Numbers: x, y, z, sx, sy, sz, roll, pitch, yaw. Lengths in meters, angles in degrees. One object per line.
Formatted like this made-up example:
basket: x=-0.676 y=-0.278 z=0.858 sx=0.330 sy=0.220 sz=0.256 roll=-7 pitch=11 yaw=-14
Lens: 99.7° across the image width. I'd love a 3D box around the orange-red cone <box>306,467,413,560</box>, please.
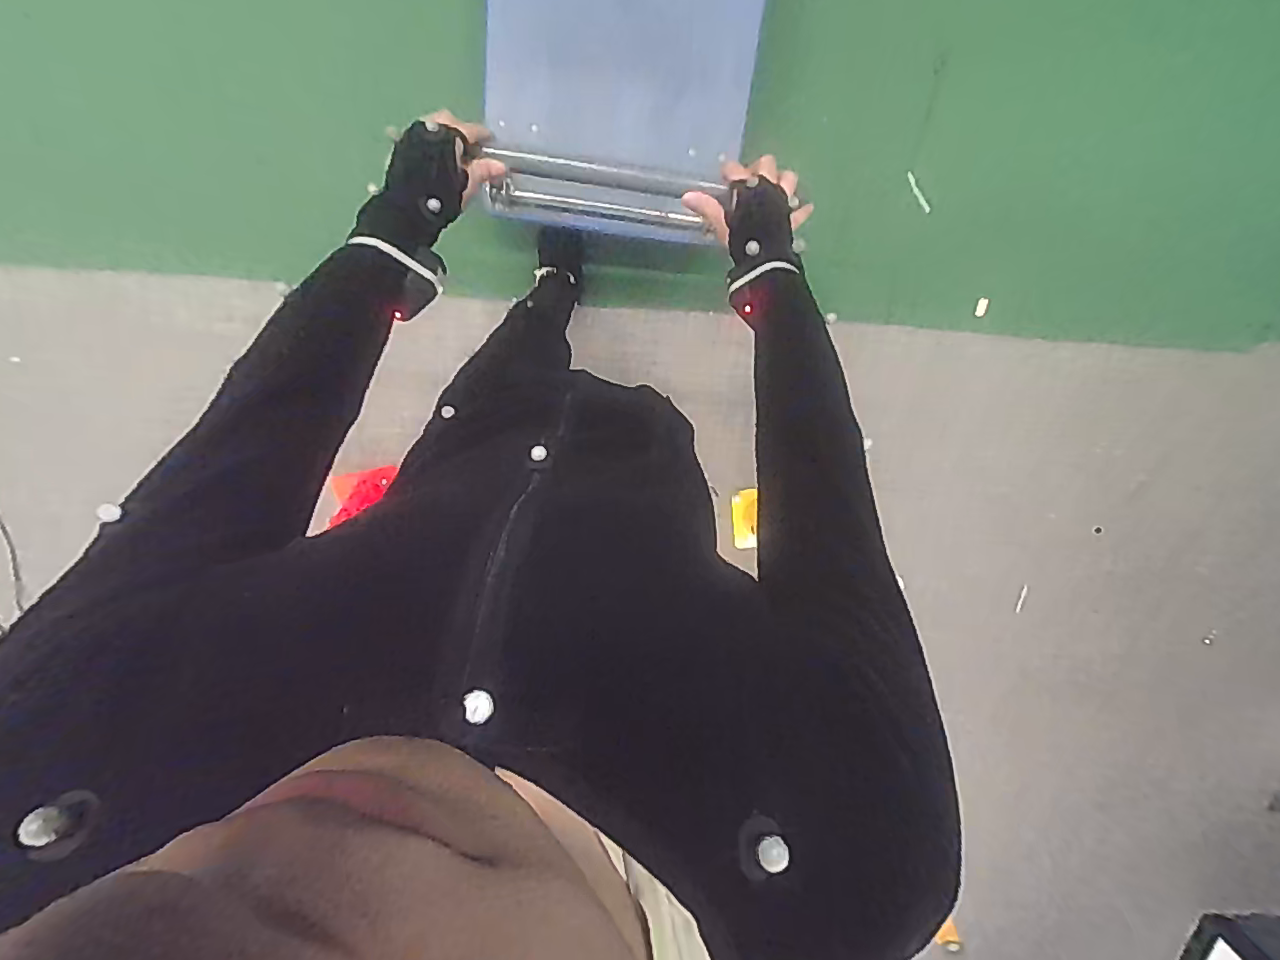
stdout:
orange-red cone: x=-0.785 y=0.120 z=1.448 sx=0.199 sy=0.360 sz=0.198 roll=-10 pitch=109 yaw=1
